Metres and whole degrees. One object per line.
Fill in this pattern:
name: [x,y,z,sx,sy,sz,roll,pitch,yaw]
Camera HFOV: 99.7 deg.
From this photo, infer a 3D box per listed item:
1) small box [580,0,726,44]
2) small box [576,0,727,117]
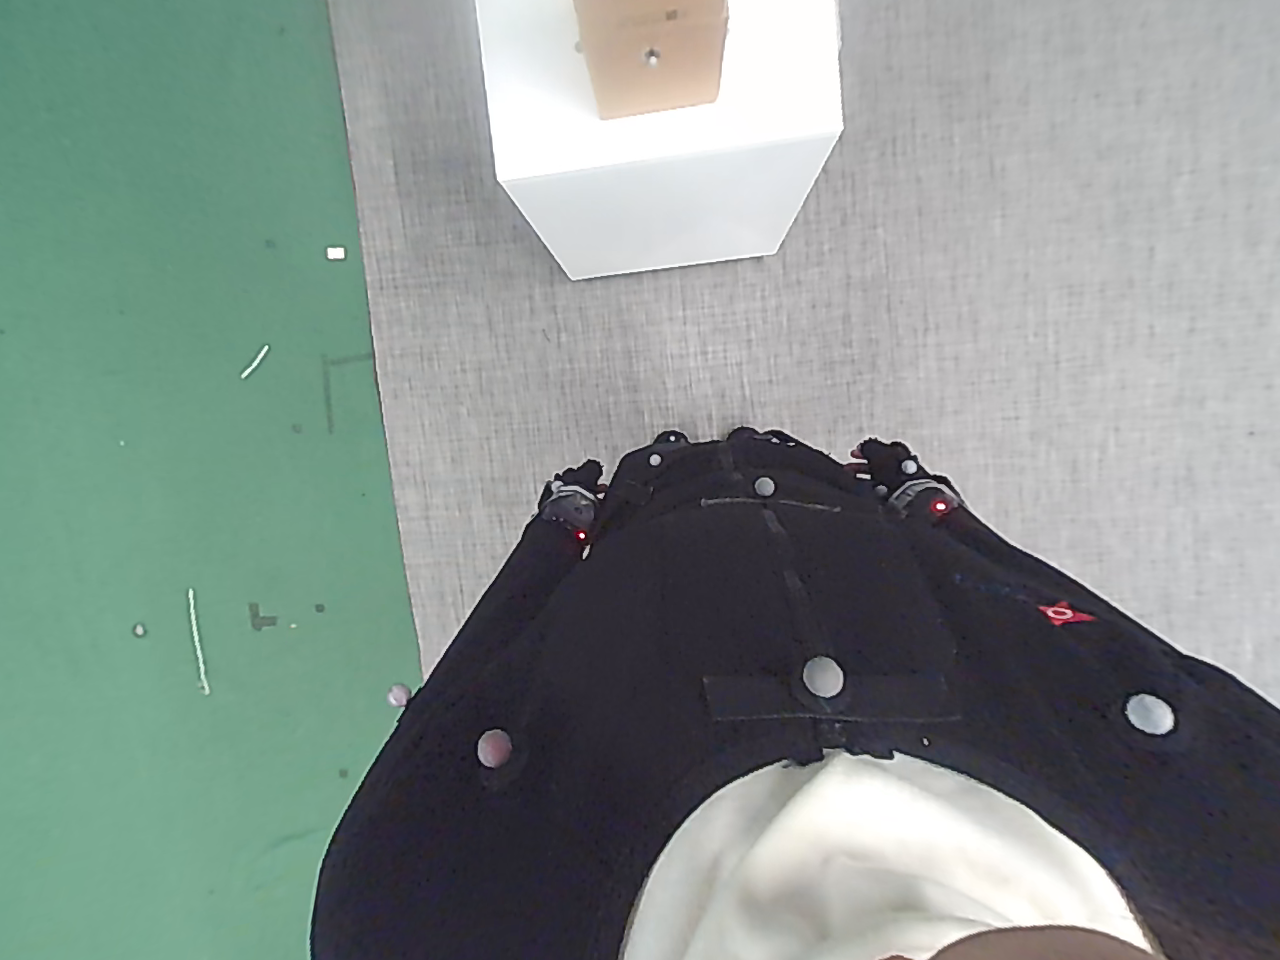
small box: [0.004,-0.597,0.543,0.168,0.176,0.179,-7,96,4]
small box: [0.014,-0.609,0.704,0.179,0.176,0.168,-6,95,4]
